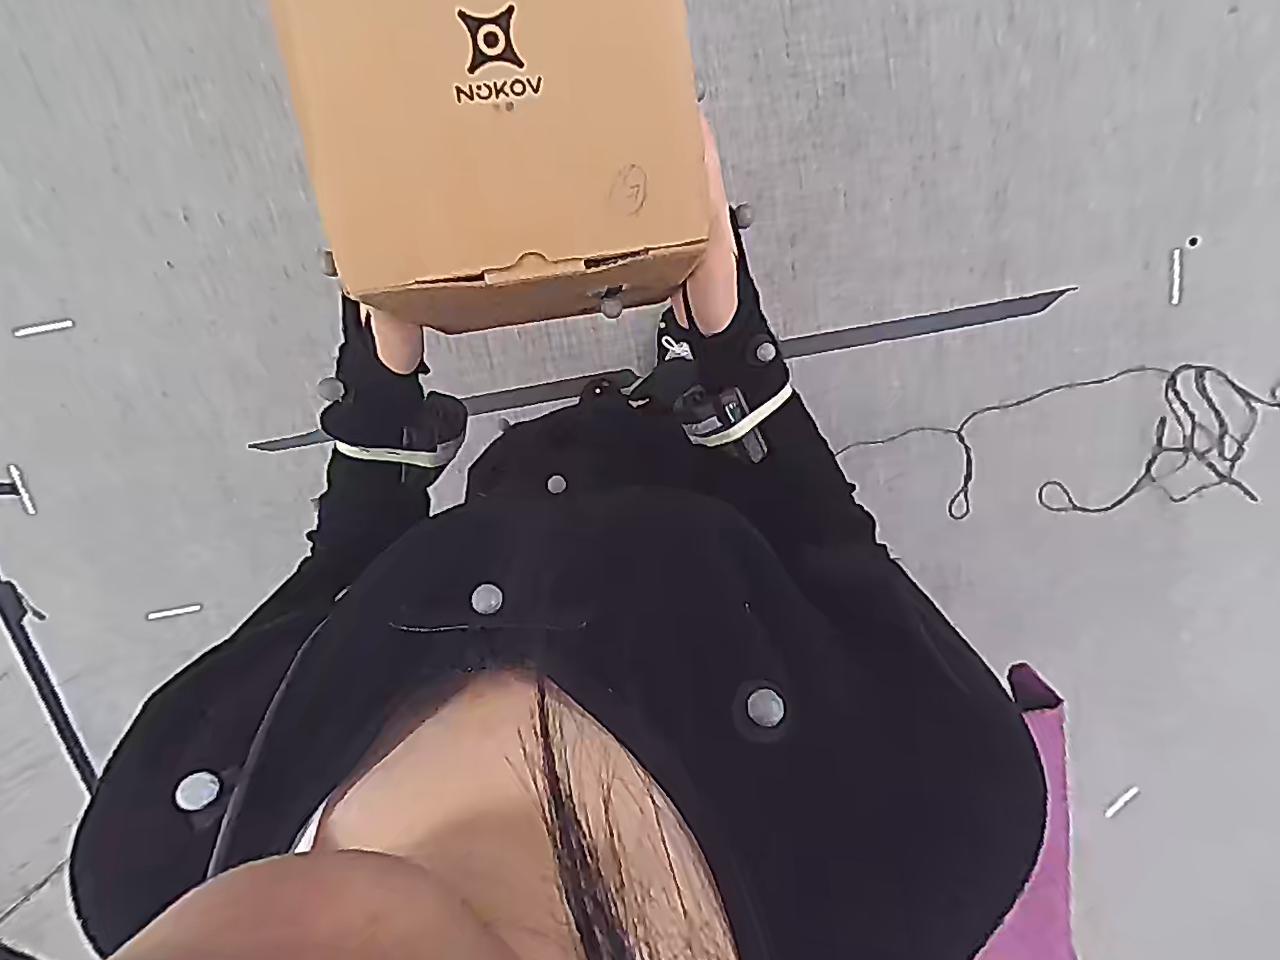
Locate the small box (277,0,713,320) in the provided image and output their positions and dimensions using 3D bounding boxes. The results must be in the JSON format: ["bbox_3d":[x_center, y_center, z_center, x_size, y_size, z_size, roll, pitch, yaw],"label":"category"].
[{"bbox_3d":[-0.066,-0.192,0.300,0.168,0.176,0.179,-10,100,-4],"label":"small box"}]

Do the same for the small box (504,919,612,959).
[{"bbox_3d":[-0.124,0.826,0.826,0.168,0.176,0.179,-6,102,-2],"label":"small box"}]
